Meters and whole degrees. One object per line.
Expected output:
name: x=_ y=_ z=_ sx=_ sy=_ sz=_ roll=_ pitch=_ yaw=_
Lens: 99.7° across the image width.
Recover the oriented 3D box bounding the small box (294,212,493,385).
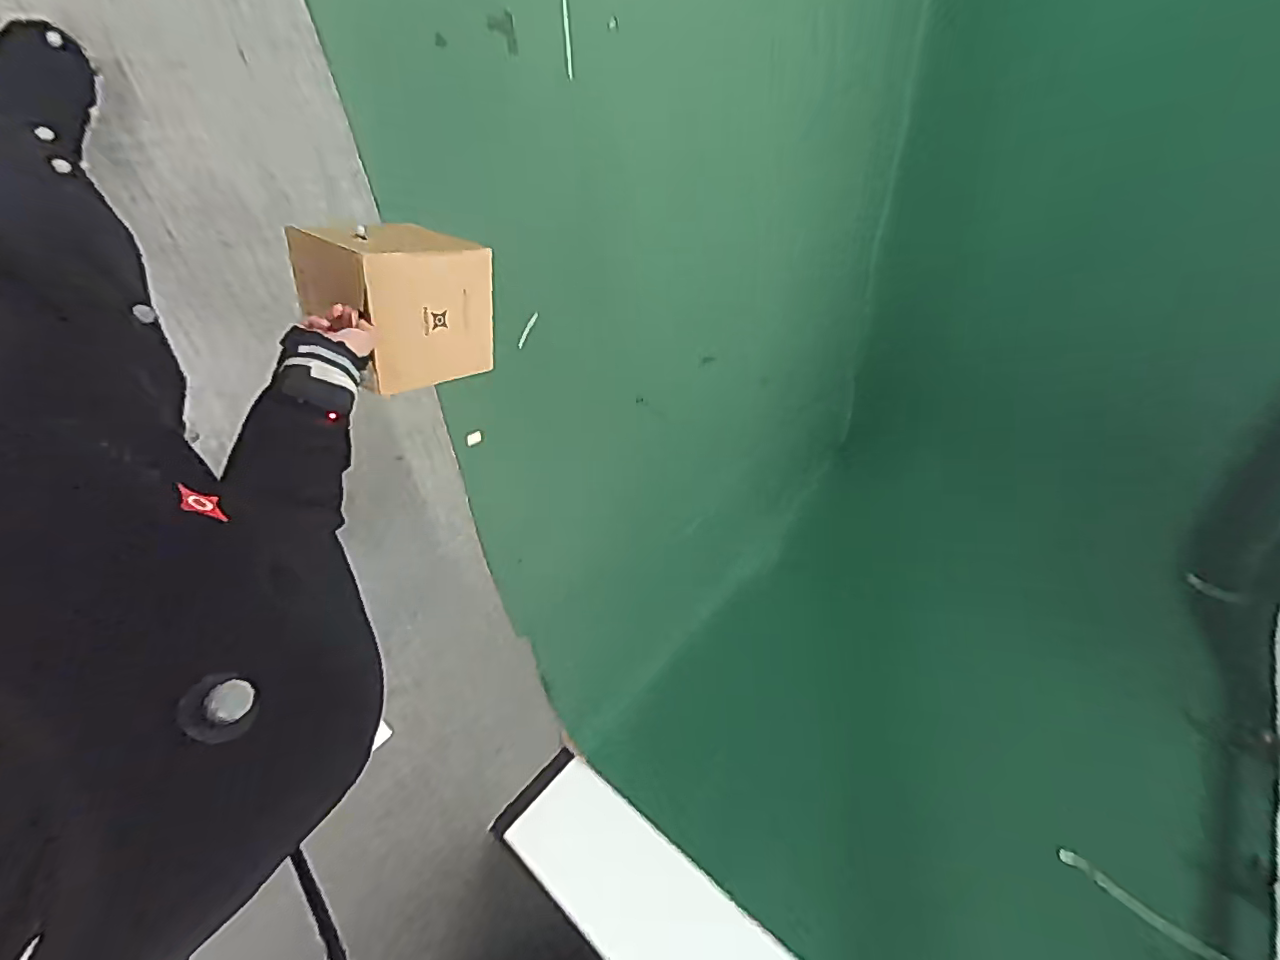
small box: x=-0.316 y=-0.244 z=0.703 sx=0.179 sy=0.176 sz=0.168 roll=-33 pitch=141 yaw=-45
